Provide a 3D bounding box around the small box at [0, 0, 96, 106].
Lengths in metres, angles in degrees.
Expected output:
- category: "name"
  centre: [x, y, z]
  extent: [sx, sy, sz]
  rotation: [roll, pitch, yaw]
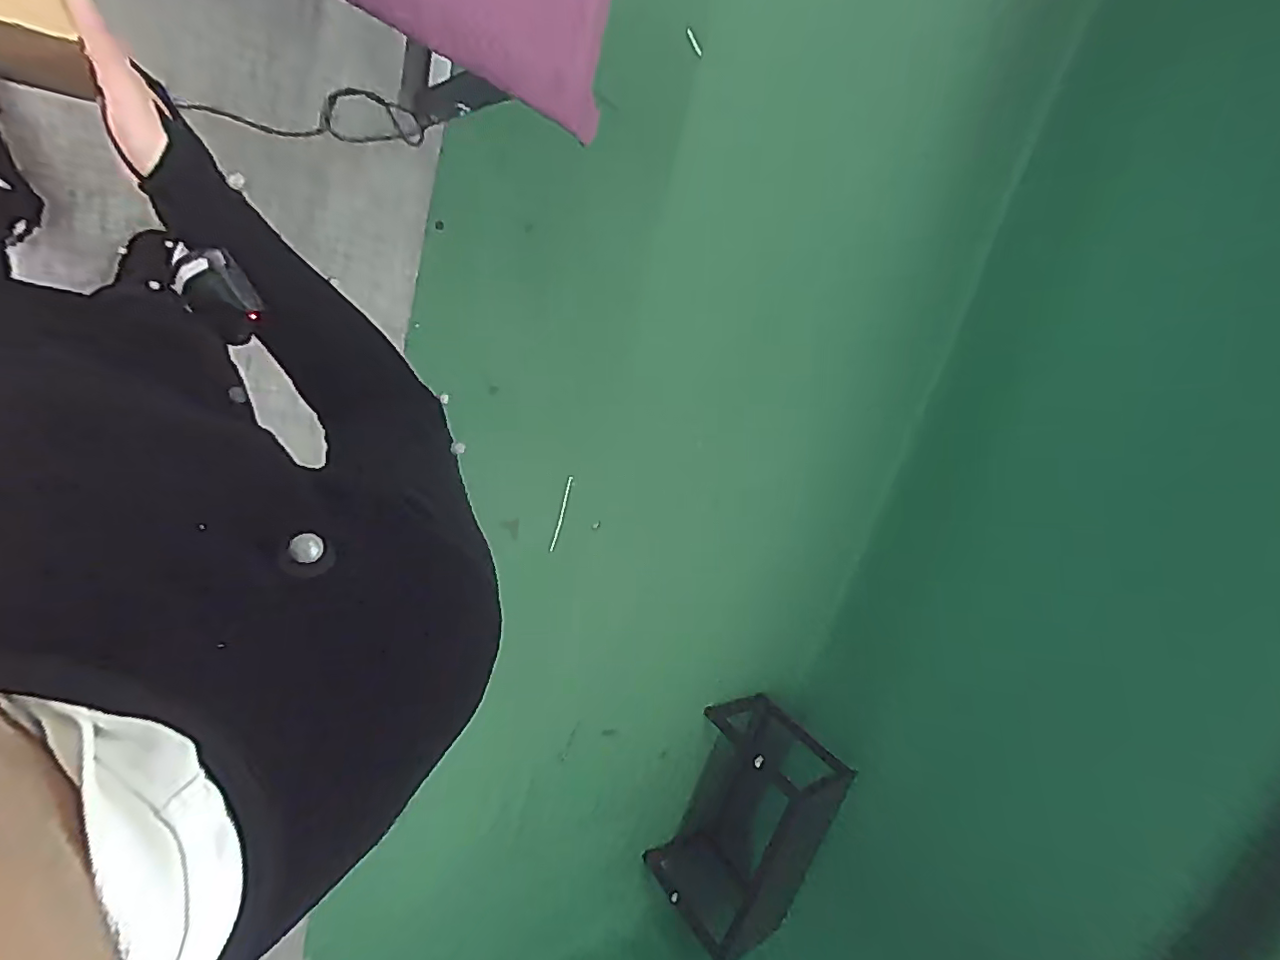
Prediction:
- category: "small box"
  centre: [-0.491, -0.386, 0.357]
  extent: [0.168, 0.176, 0.179]
  rotation: [-8, 111, -40]
